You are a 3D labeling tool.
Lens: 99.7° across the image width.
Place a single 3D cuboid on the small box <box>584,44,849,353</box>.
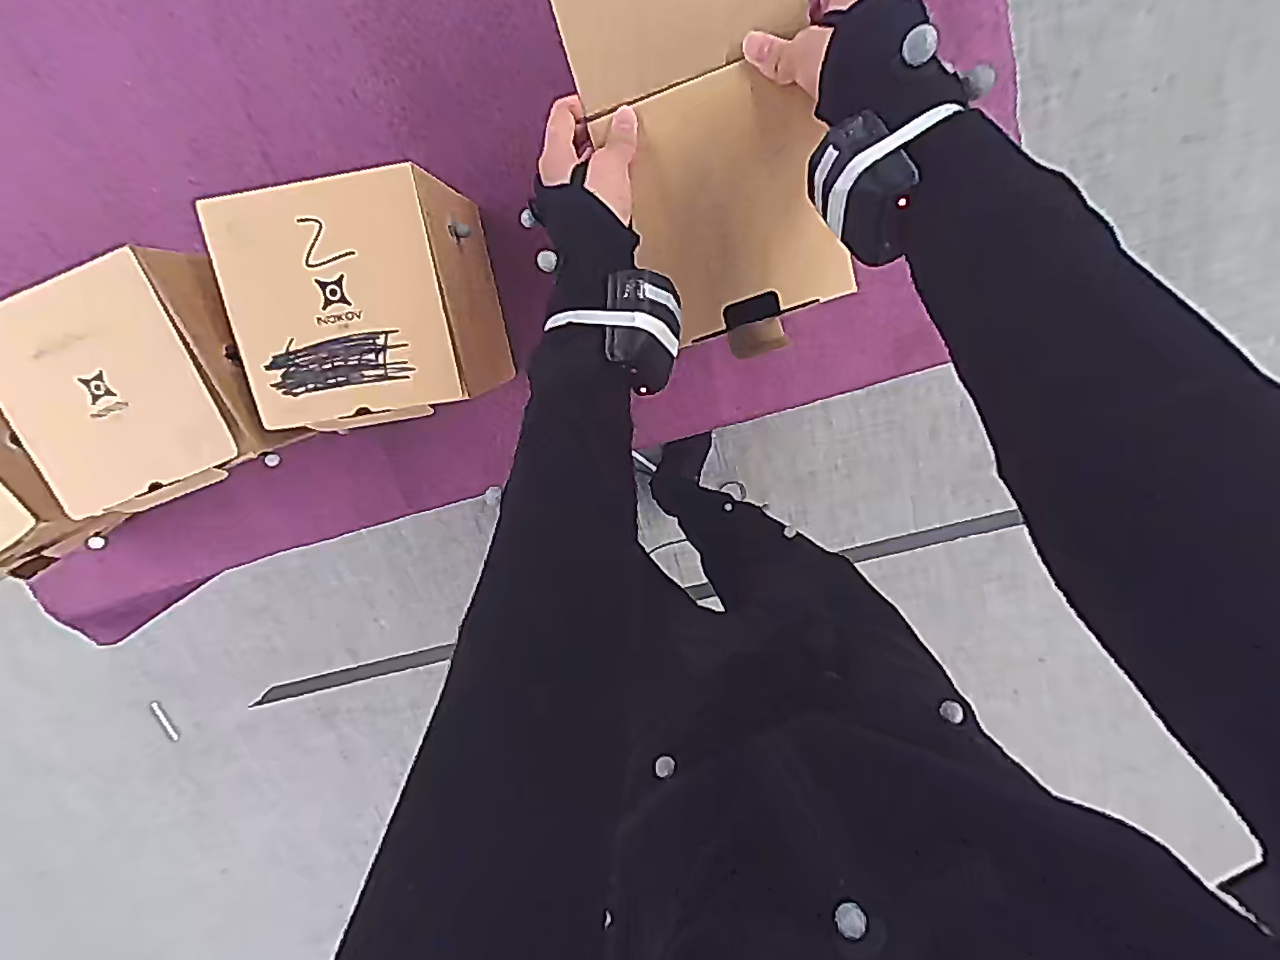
[{"bbox_3d":[0.060,-0.222,0.475,0.168,0.176,0.179,-16,106,6],"label":"small box"}]
